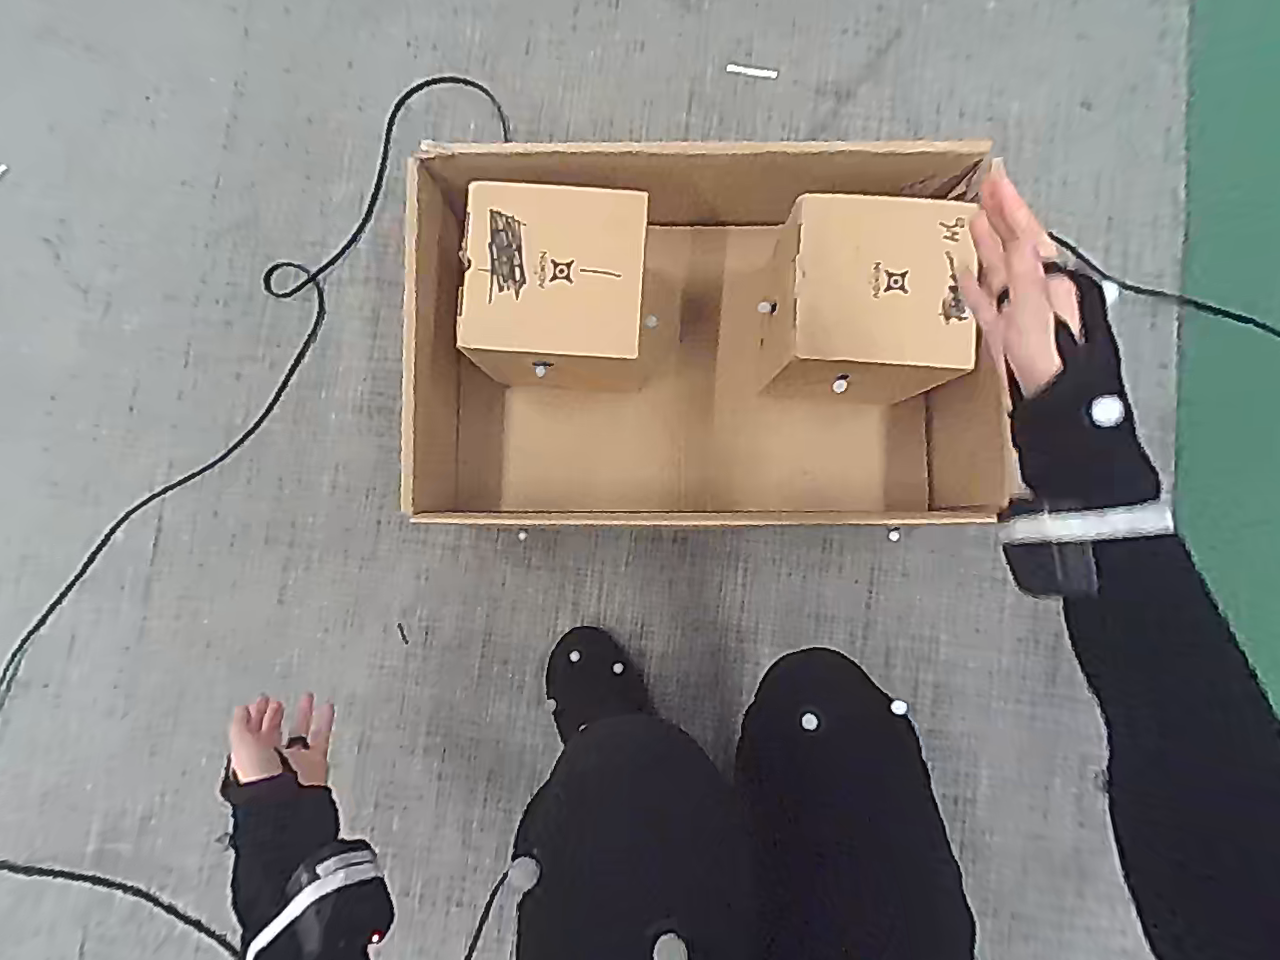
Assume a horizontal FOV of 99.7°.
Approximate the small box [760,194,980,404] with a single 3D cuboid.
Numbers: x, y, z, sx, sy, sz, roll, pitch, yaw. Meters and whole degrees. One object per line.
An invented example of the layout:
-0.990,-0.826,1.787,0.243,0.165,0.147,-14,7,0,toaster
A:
0.237,-0.185,0.598,0.179,0.176,0.168,5,86,1,small box
